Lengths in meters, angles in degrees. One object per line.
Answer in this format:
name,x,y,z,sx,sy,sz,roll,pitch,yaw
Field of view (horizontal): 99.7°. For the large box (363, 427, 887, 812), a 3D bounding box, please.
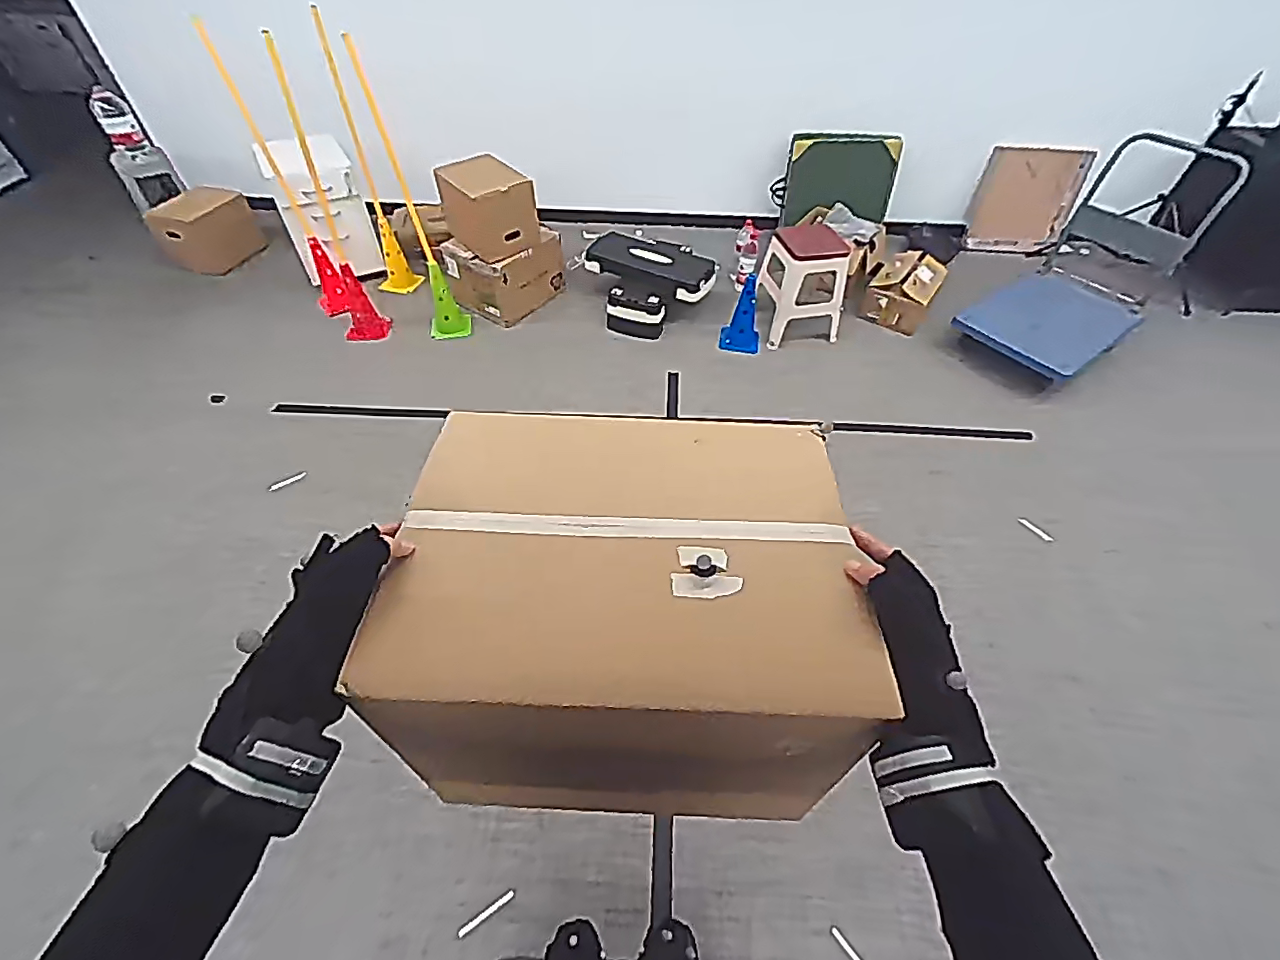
large box,-0.013,0.159,0.611,0.408,0.320,0.320,3,47,0
